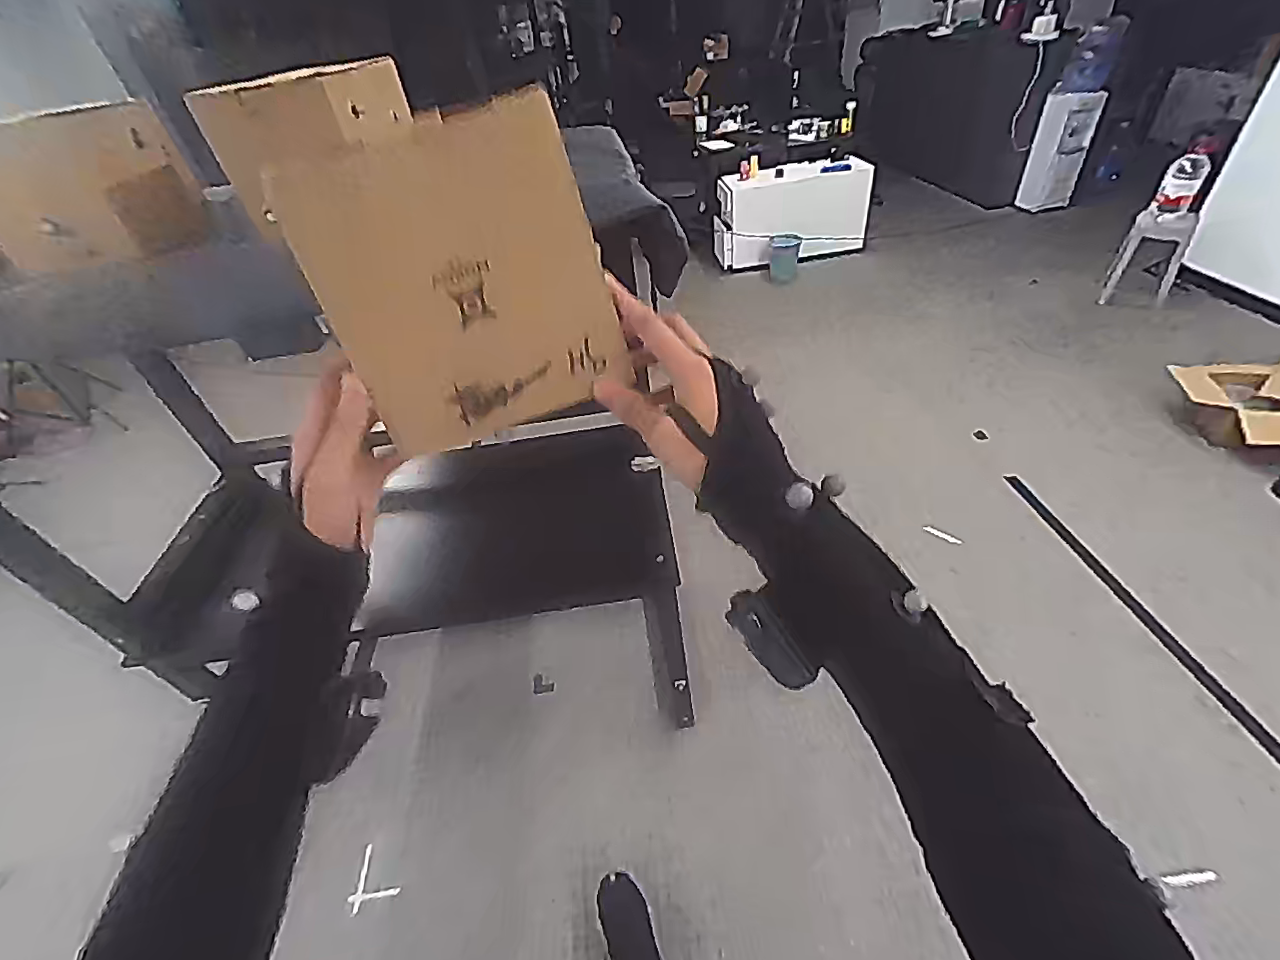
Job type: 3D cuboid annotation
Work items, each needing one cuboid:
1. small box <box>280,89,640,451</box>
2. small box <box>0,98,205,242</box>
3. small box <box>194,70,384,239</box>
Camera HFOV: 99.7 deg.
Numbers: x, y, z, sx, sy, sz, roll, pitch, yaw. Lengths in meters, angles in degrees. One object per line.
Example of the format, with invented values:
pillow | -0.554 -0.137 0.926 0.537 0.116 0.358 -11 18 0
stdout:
small box | -0.114 -0.146 0.404 0.168 0.179 0.176 -19 22 -4
small box | -0.895 -0.521 0.909 0.179 0.176 0.168 -10 41 -3
small box | -0.449 -0.448 0.753 0.168 0.176 0.179 -10 40 -2
